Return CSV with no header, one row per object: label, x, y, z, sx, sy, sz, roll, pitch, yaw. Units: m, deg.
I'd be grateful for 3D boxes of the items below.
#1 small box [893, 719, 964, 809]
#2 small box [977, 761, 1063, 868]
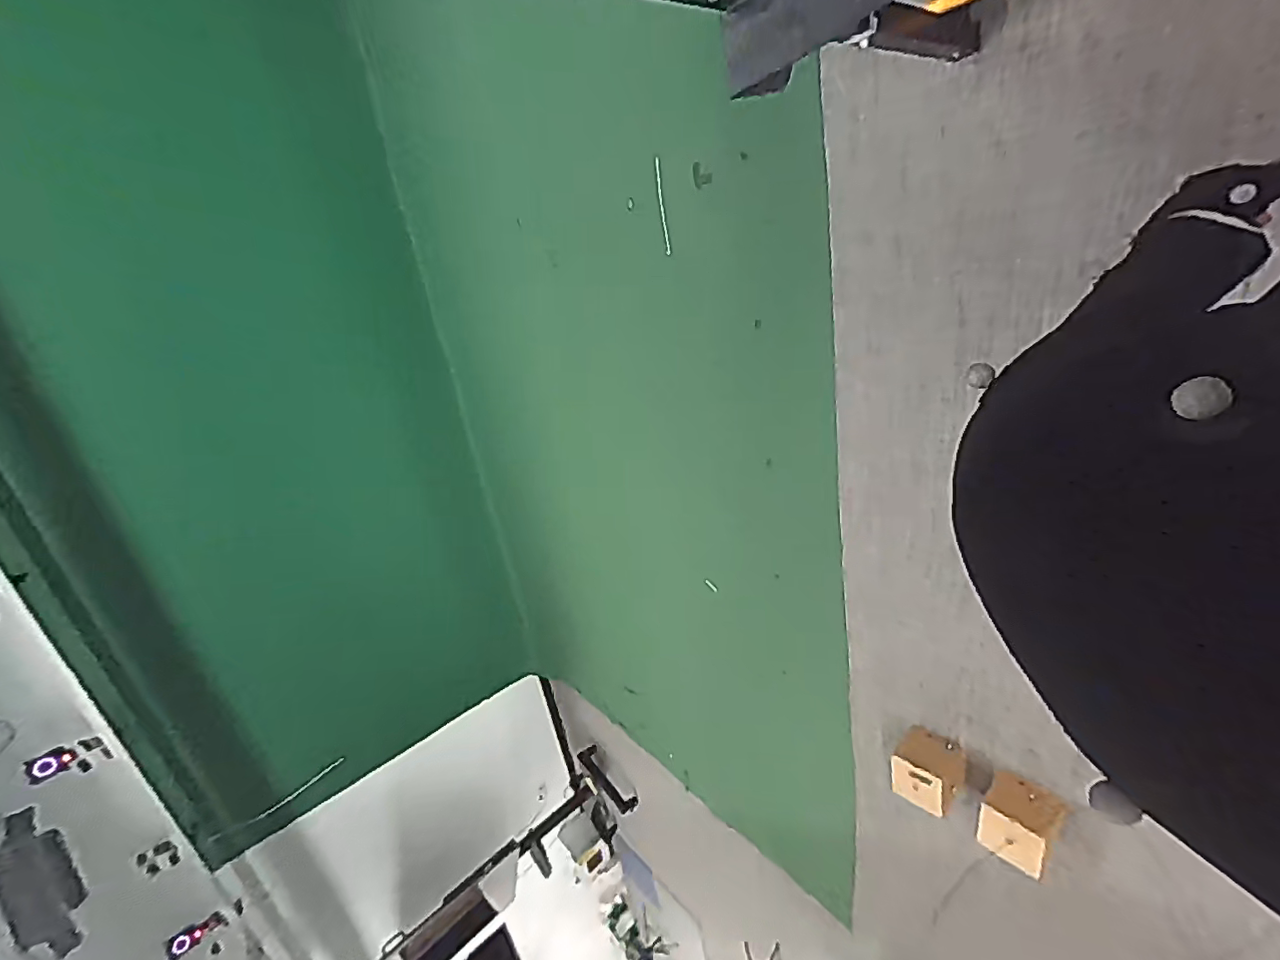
small box,0.983,0.957,1.842,0.168,0.176,0.179,14,122,50
small box,1.152,1.005,1.639,0.168,0.176,0.179,18,124,49
